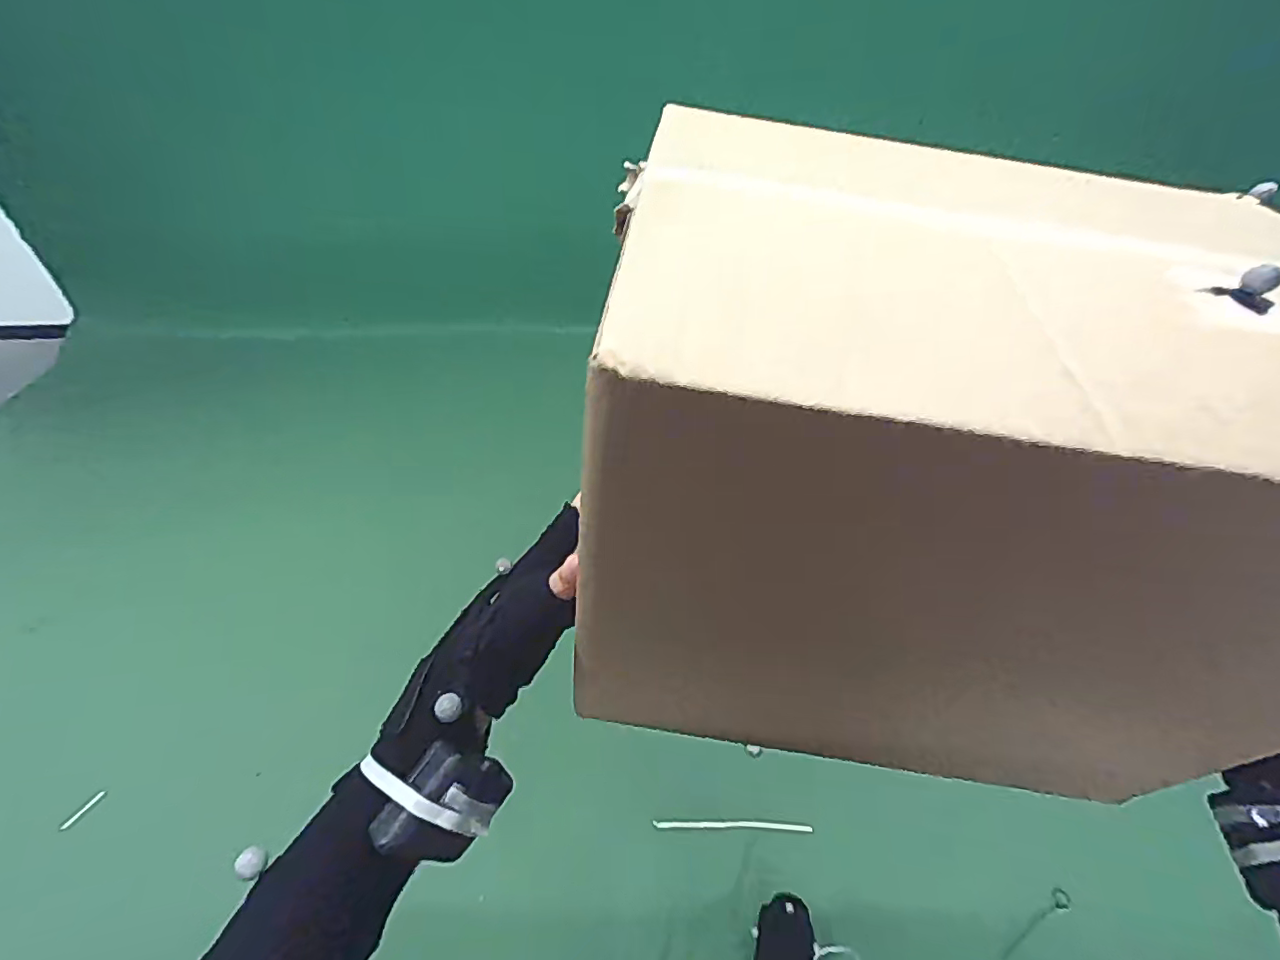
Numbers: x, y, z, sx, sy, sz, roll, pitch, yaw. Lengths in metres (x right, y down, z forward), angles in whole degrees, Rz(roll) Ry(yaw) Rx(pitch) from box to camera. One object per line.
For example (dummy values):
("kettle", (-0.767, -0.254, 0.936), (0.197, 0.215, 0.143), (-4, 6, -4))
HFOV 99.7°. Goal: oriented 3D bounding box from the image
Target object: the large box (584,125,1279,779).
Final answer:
("large box", (0.184, -0.013, 0.397), (0.408, 0.320, 0.320), (10, 48, 0))
